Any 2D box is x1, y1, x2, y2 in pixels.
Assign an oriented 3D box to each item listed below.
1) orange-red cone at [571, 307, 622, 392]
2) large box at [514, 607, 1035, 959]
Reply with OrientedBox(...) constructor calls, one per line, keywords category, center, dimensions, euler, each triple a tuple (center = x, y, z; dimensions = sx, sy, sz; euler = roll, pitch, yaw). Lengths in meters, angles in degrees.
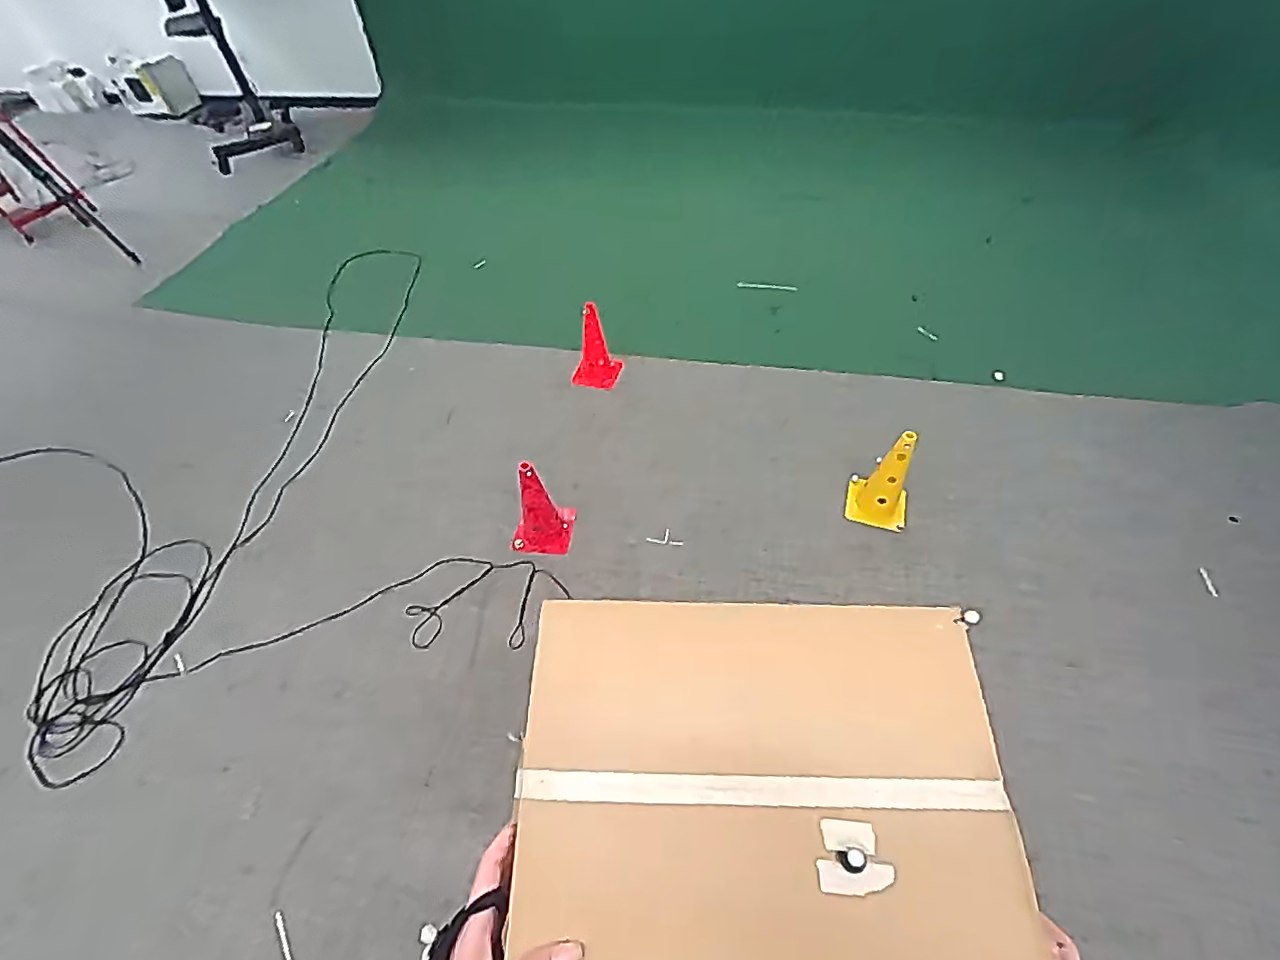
OrientedBox(category="orange-red cone", center=(-0.207, -0.583, 2.338), dimensions=(0.199, 0.360, 0.198), euler=(12, 51, 14))
OrientedBox(category="large box", center=(0.102, 0.333, 0.595), dimensions=(0.408, 0.320, 0.320), euler=(1, 63, 1))
